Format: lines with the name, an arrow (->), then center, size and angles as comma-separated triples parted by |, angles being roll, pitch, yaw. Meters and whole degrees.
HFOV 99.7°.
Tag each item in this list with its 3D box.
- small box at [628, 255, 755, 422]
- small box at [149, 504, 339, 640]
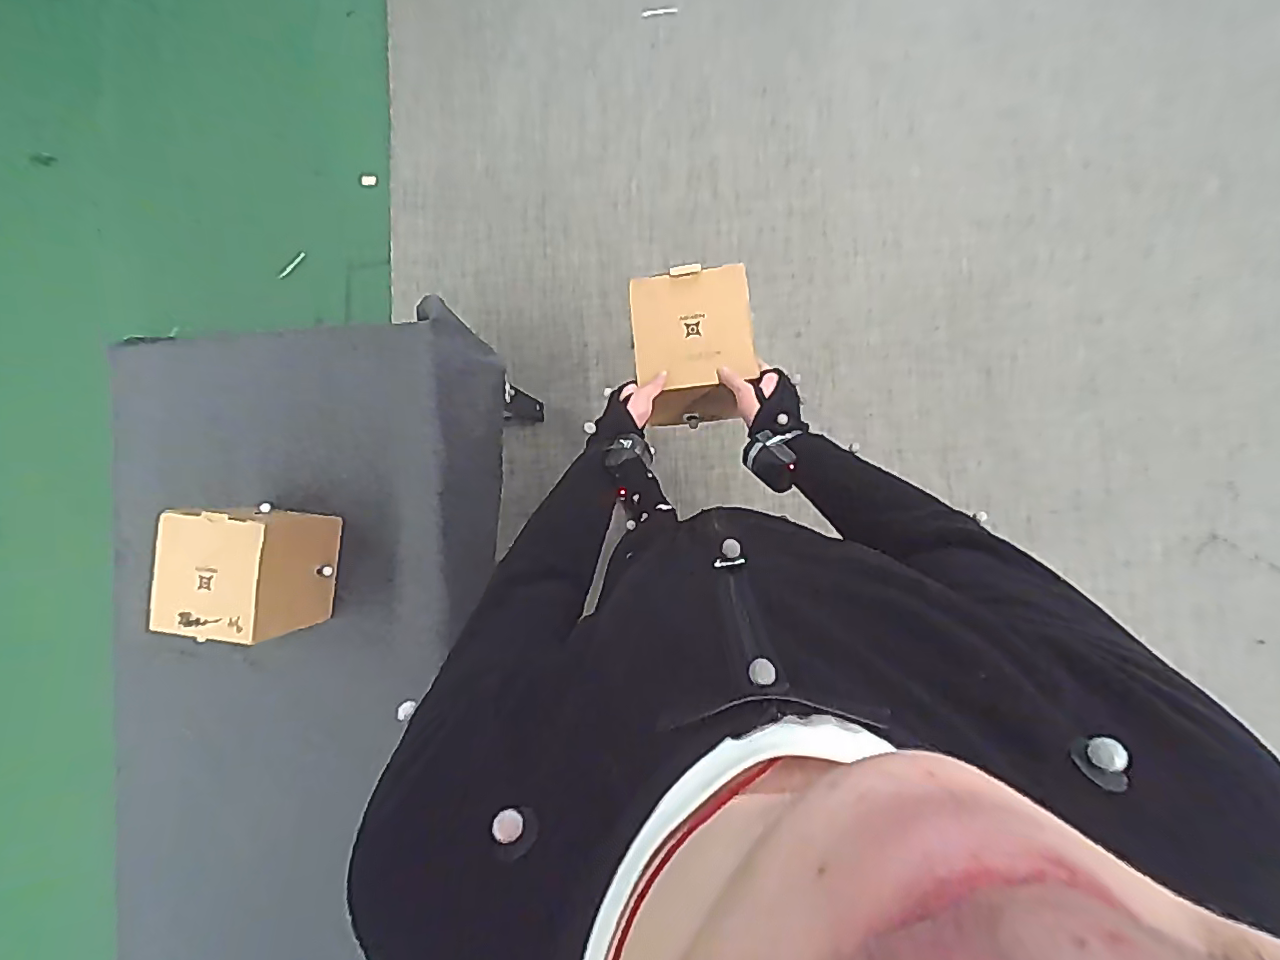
small box -> 0.075, -0.199, 0.799 | 0.168, 0.176, 0.179 | -4, 78, 8
small box -> -0.605, 0.134, 0.849 | 0.168, 0.176, 0.179 | 6, 88, 6
